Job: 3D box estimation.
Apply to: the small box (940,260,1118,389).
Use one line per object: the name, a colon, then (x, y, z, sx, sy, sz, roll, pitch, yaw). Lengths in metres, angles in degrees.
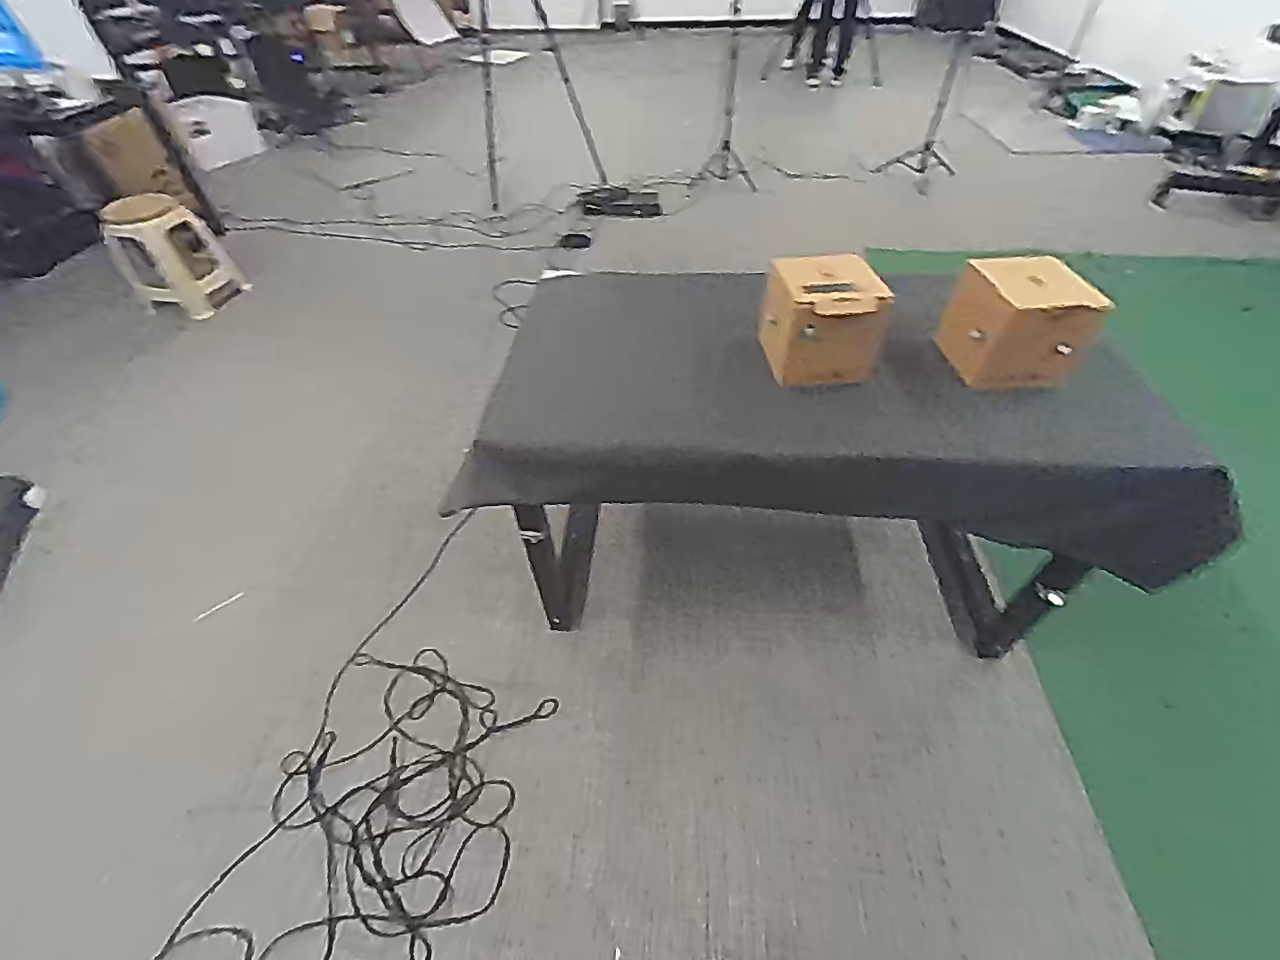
small box: (0.684, -0.278, 0.978, 0.168, 0.176, 0.179, -2, 46, -2)
